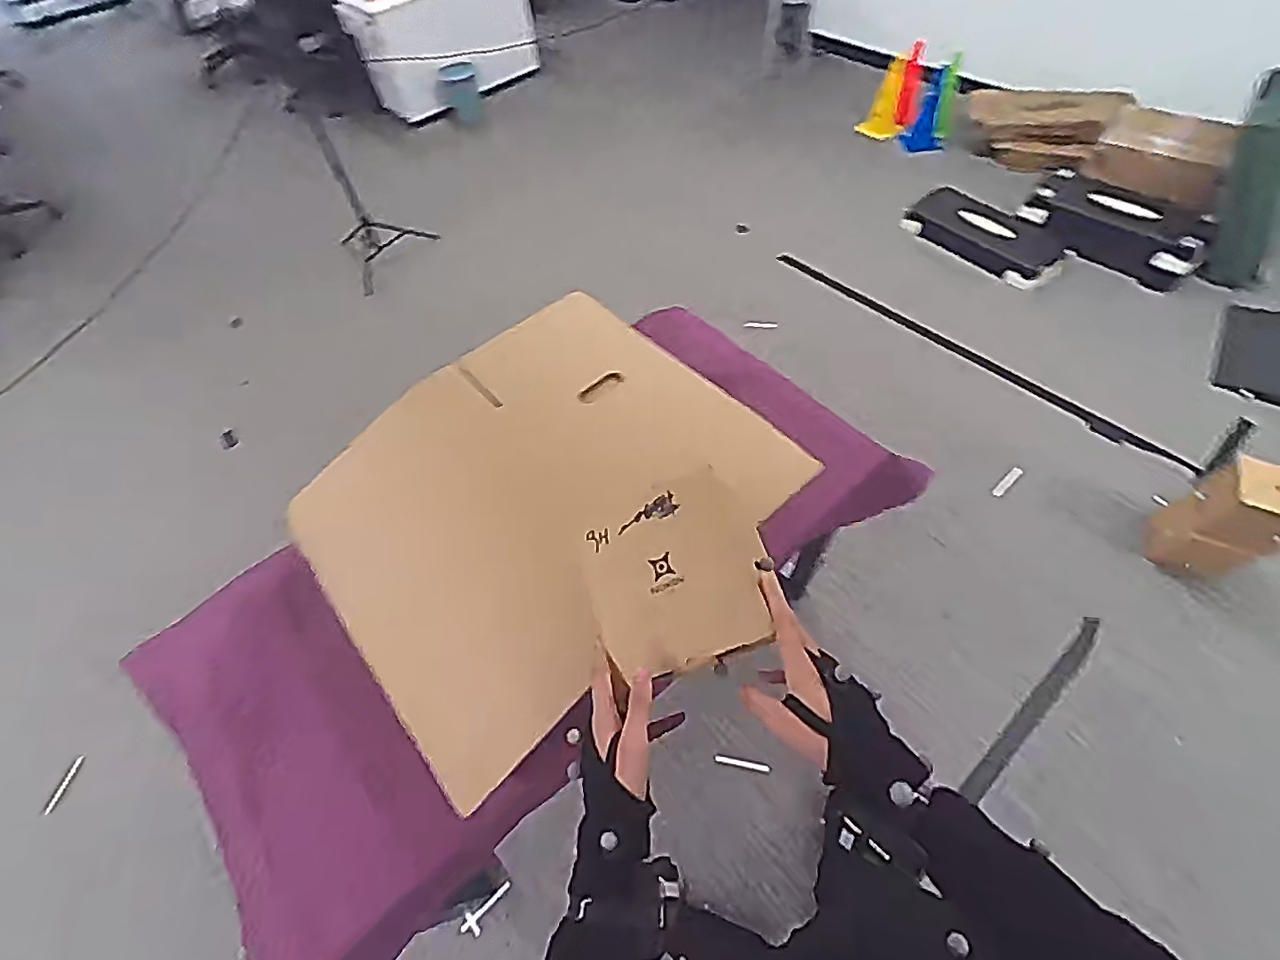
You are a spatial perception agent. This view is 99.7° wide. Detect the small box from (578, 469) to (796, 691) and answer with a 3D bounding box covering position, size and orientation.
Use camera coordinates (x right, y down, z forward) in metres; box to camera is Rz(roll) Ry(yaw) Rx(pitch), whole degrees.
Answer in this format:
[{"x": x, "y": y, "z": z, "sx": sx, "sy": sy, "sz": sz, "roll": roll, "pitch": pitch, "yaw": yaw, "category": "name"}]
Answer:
[{"x": 0.060, "y": 0.113, "z": 0.600, "sx": 0.168, "sy": 0.176, "sz": 0.179, "roll": -25, "pitch": 69, "yaw": 15, "category": "small box"}]
